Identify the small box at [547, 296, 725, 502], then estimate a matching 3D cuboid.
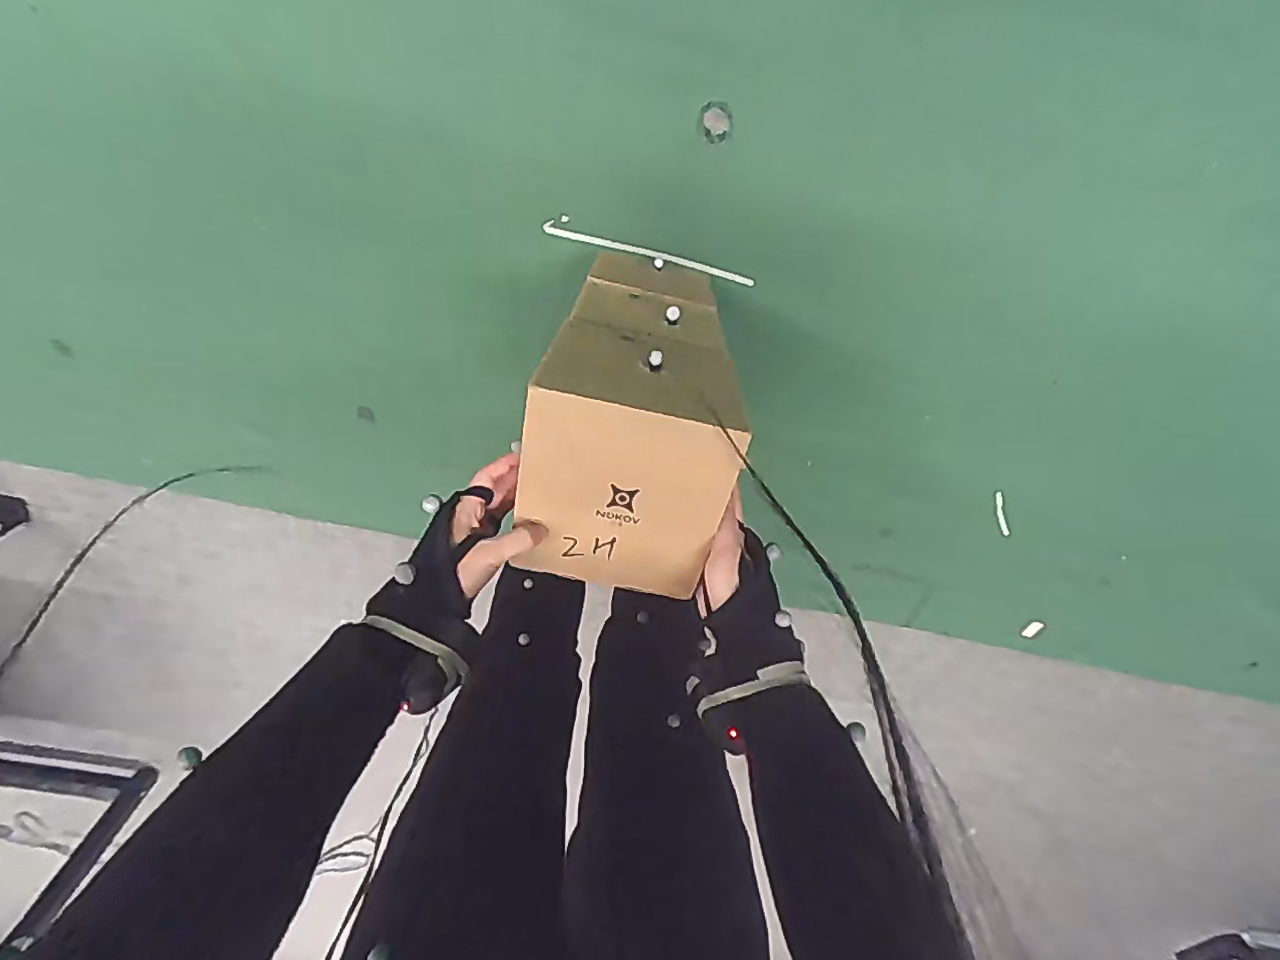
[{"bbox_3d":[-0.009,-0.103,0.646,0.168,0.176,0.179,10,124,-5],"label":"small box"}]
